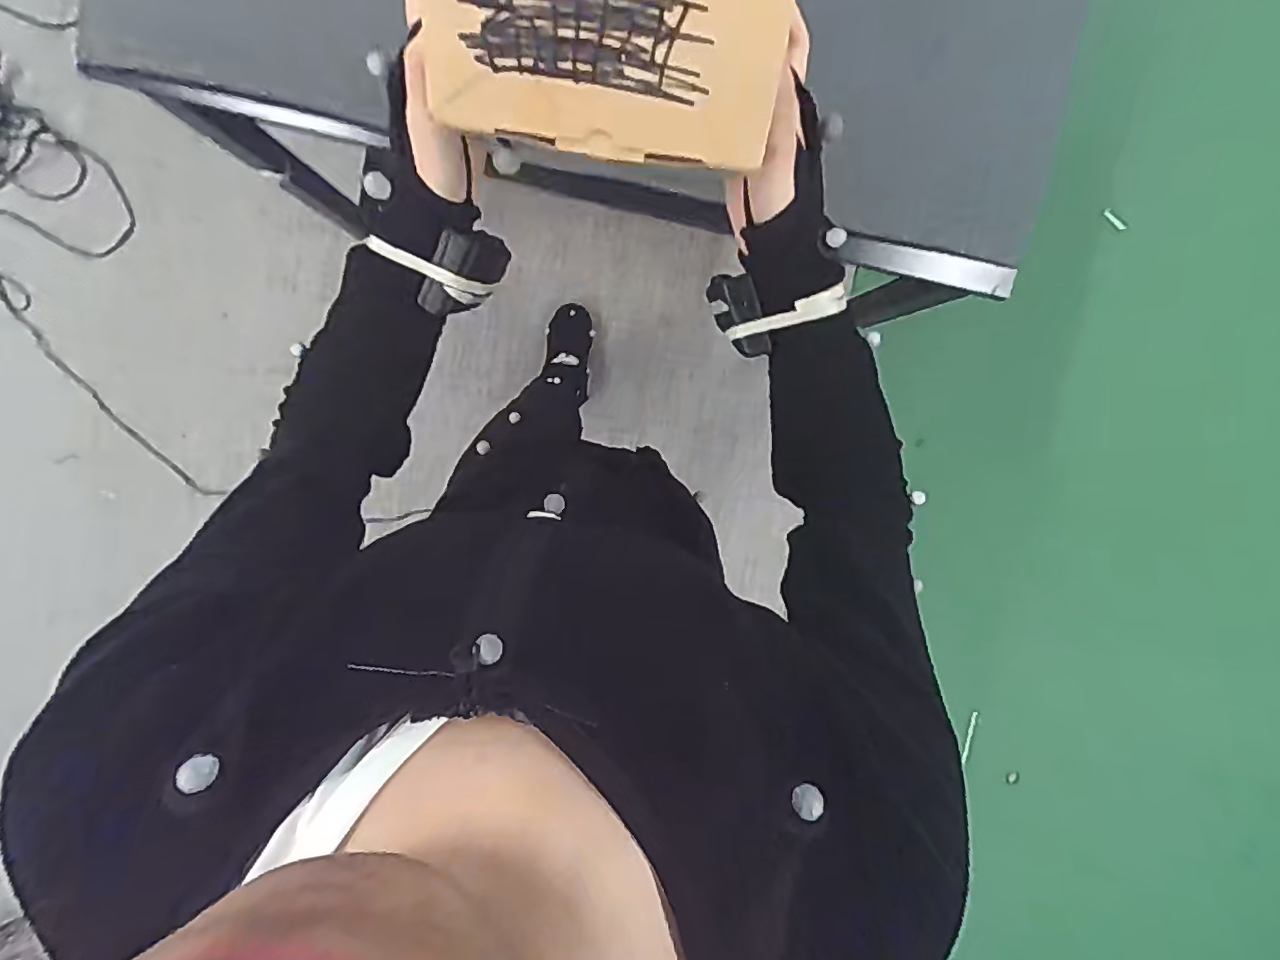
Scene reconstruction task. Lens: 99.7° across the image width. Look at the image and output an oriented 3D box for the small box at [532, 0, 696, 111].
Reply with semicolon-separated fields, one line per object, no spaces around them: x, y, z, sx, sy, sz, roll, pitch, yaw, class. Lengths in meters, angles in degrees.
-0.024;-0.549;0.583;0.168;0.176;0.179;7;95;-5;small box
